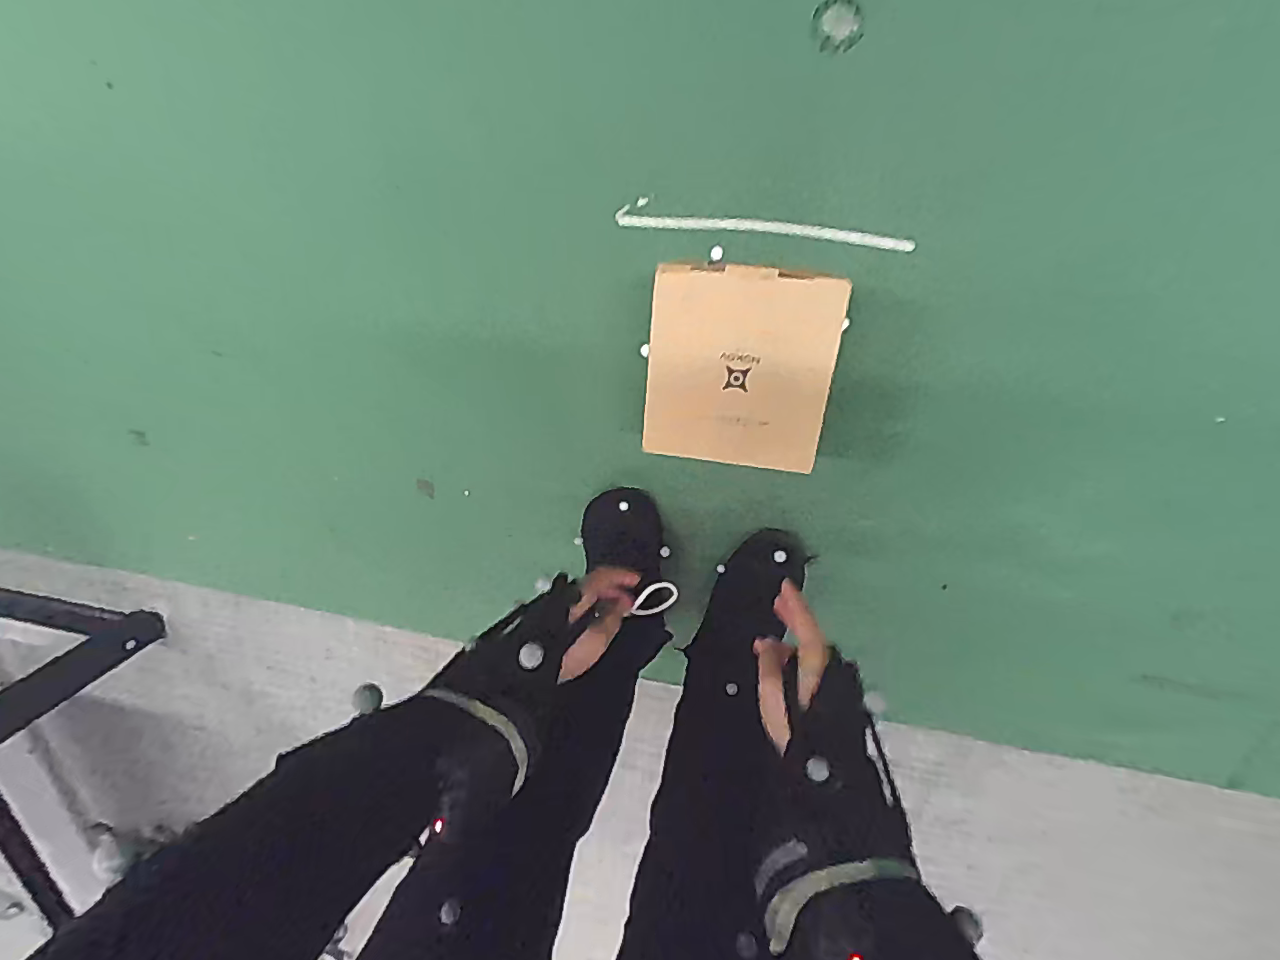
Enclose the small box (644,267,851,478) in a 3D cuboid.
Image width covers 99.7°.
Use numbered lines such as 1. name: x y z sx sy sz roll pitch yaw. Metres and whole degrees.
1. small box: 0.104 -0.123 0.564 0.168 0.176 0.179 8 115 9
